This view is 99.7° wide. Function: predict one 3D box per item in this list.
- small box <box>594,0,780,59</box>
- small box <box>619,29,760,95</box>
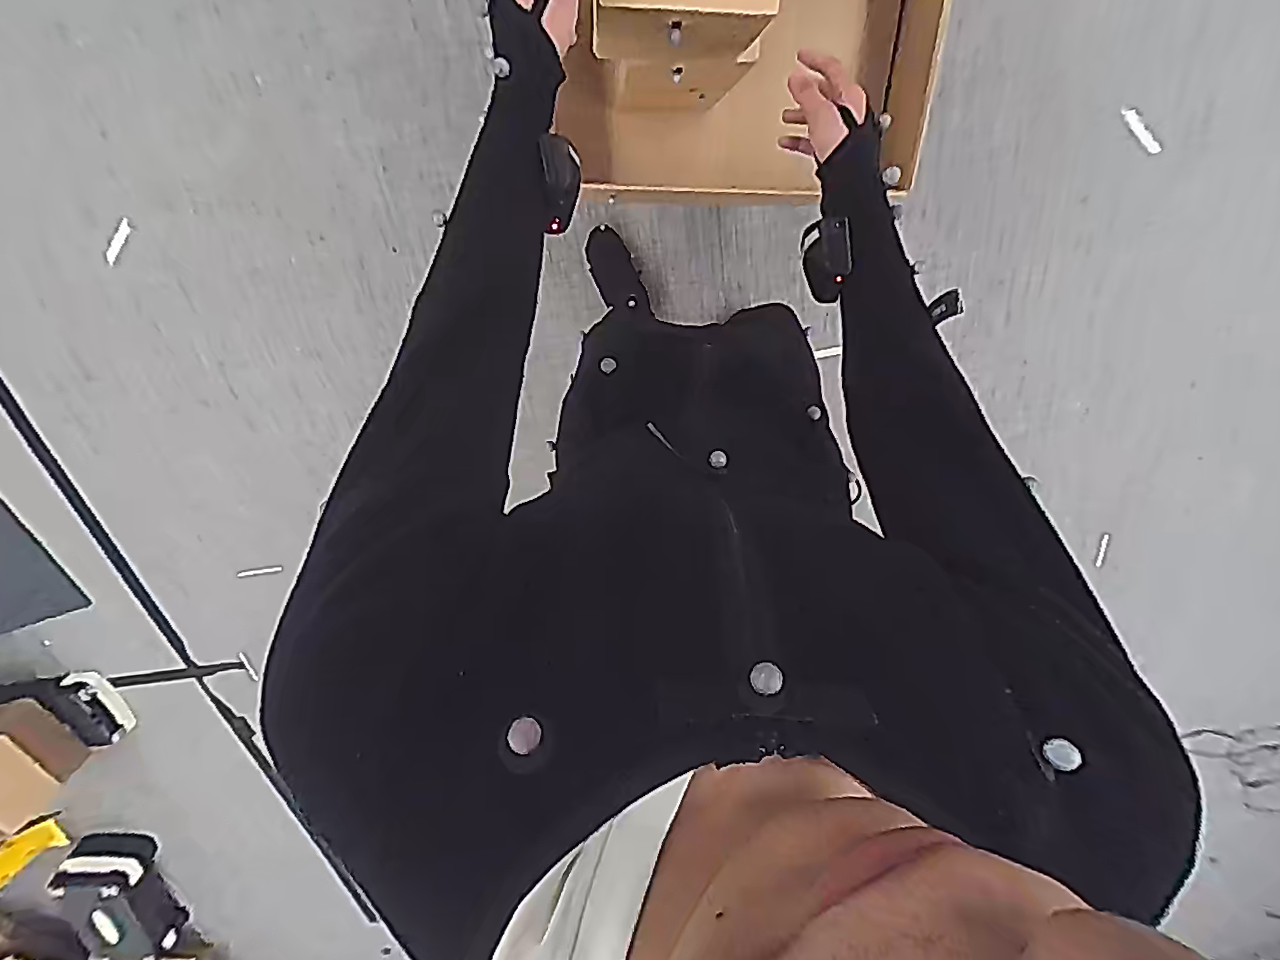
[{"bbox_3d":[0.042,-0.550,0.546,0.179,0.176,0.168,-1,115,-4],"label":"small box"},{"bbox_3d":[0.055,-0.620,0.695,0.168,0.176,0.179,-4,115,-3],"label":"small box"}]
